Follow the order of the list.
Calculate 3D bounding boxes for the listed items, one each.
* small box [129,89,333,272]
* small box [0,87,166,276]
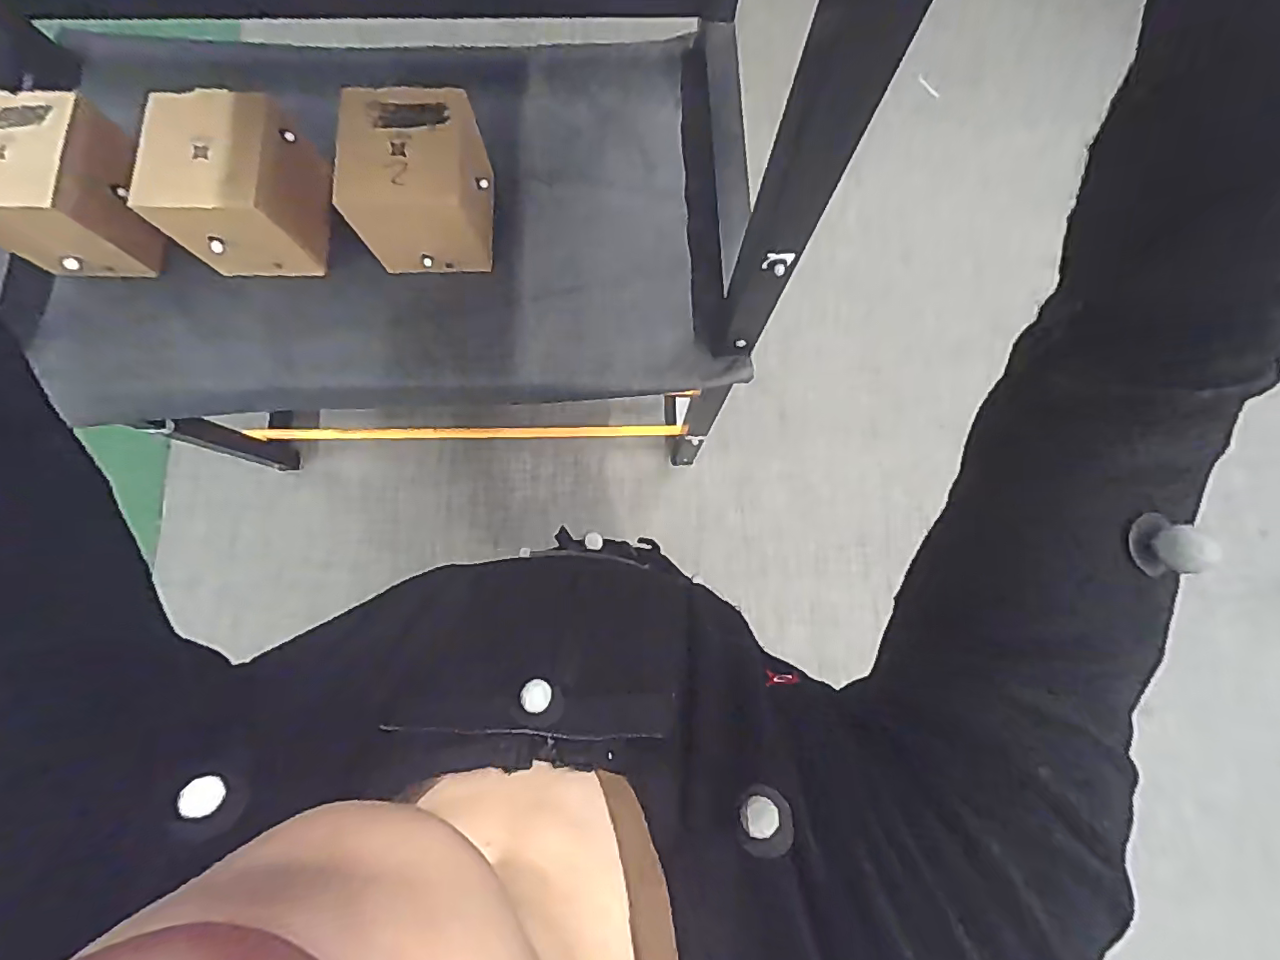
[{"bbox_3d":[-0.577,-0.423,0.788,0.168,0.176,0.179,0,80,-1],"label":"small box"},{"bbox_3d":[-0.830,-0.422,0.780,0.168,0.176,0.179,0,81,-1],"label":"small box"}]
